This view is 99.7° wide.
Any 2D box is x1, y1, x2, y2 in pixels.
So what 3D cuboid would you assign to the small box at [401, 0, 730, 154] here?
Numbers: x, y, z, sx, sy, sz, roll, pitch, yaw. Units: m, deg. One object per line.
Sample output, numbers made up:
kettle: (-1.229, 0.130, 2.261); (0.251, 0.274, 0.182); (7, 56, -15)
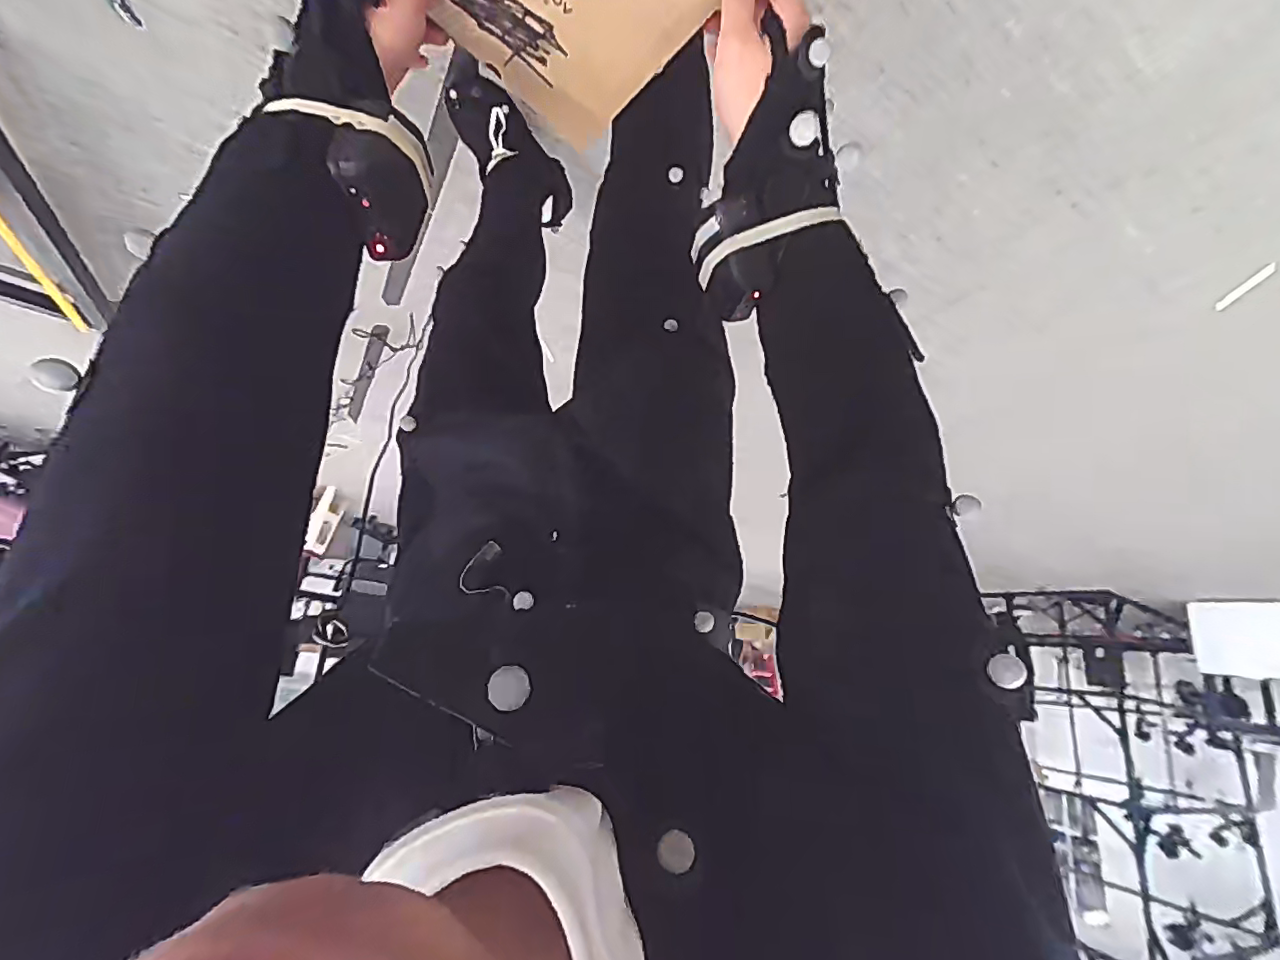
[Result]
small box: (-0.041, -0.382, 0.363); (0.168, 0.176, 0.179); (26, 153, -36)
